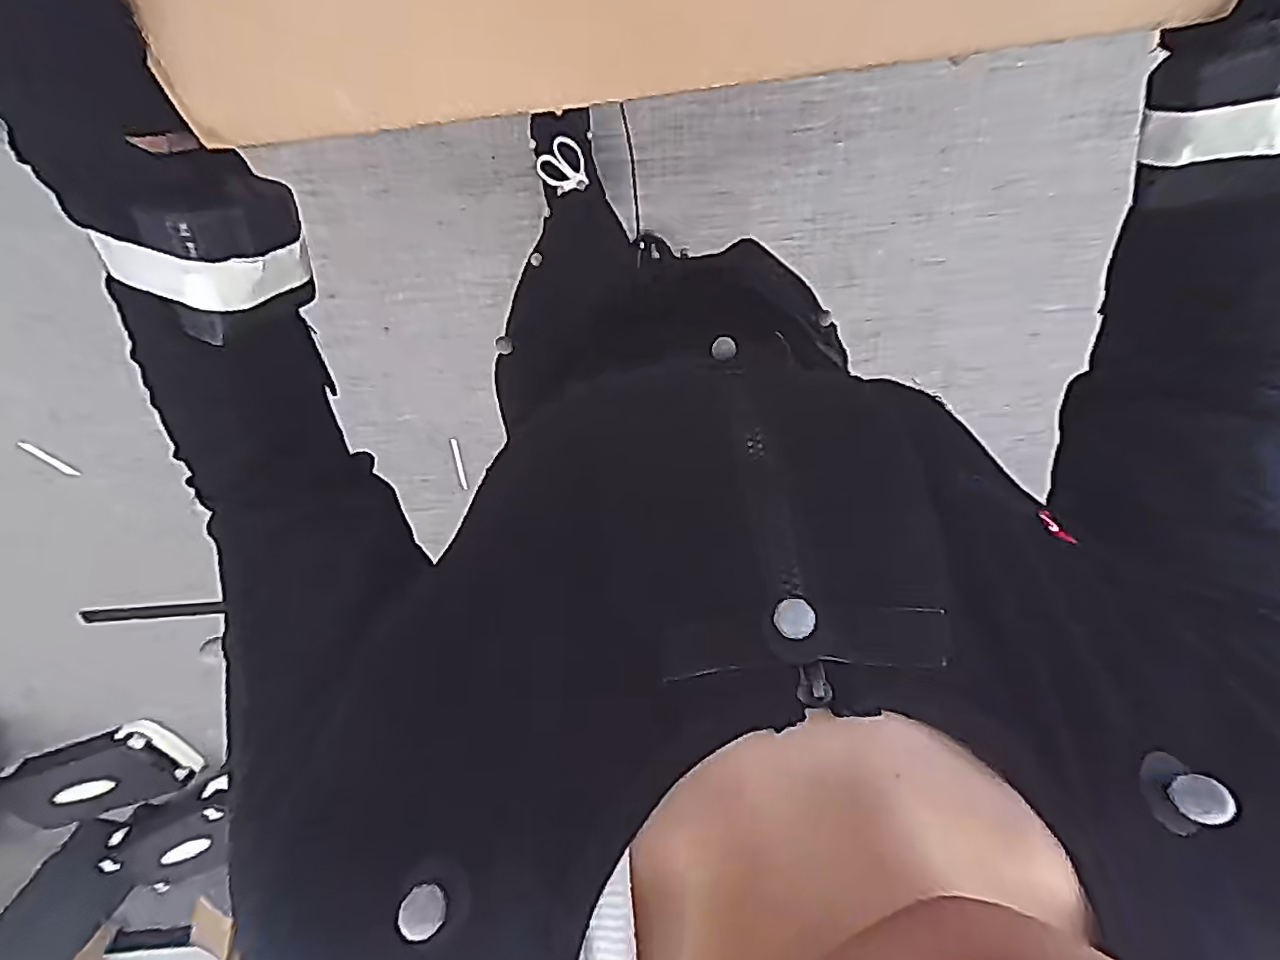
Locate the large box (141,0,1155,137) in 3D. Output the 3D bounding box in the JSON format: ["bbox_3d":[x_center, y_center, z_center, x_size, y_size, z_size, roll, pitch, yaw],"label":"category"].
[{"bbox_3d":[-0.003,-0.379,0.201,0.408,0.320,0.320,-7,139,1],"label":"large box"}]
